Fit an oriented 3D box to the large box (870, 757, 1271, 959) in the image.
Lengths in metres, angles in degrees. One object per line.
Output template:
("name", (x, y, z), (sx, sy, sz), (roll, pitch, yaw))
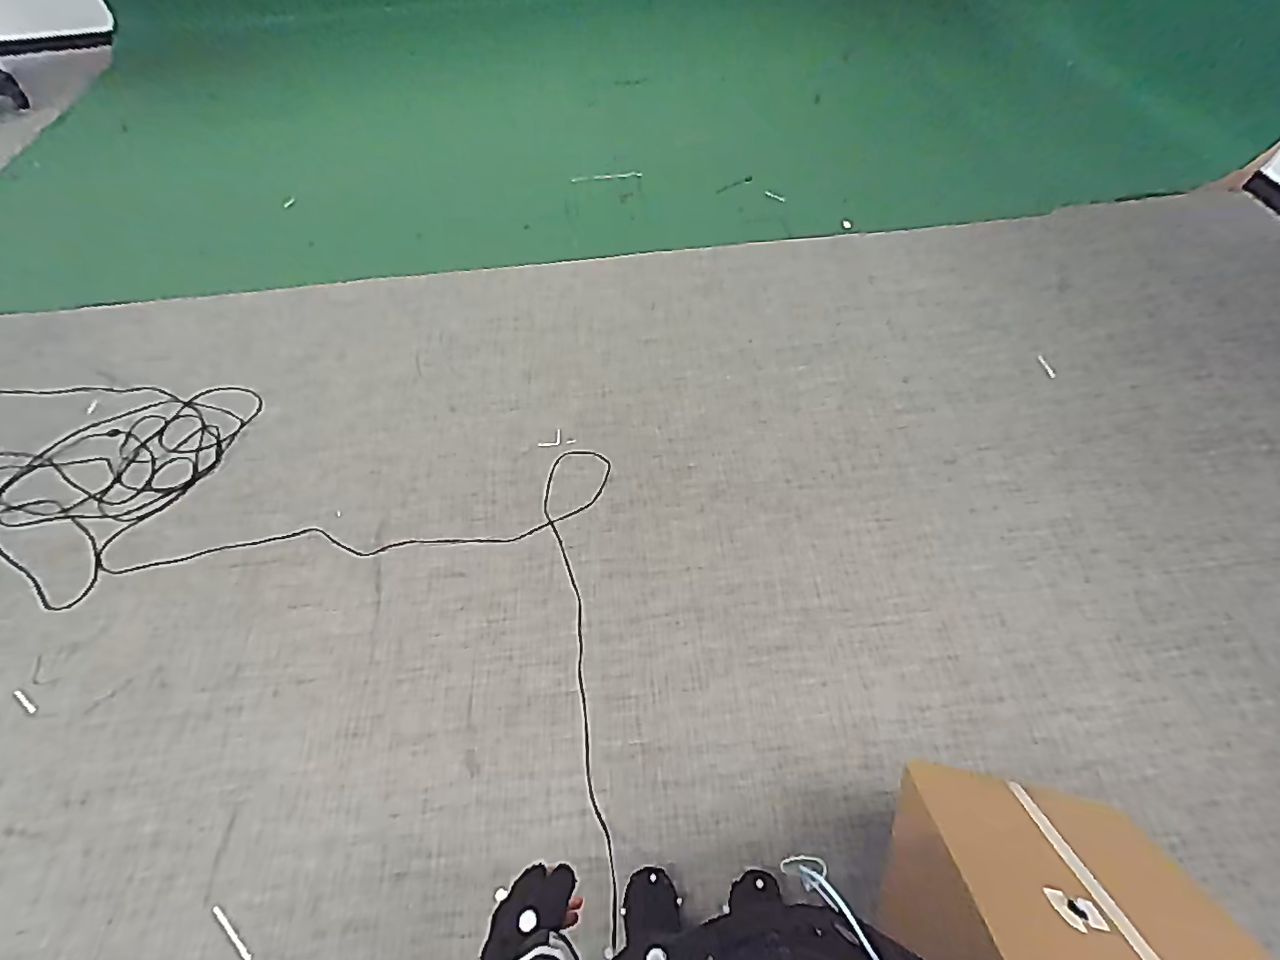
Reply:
("large box", (0.513, 0.630, 0.665), (0.320, 0.408, 0.320), (9, 96, 10))
